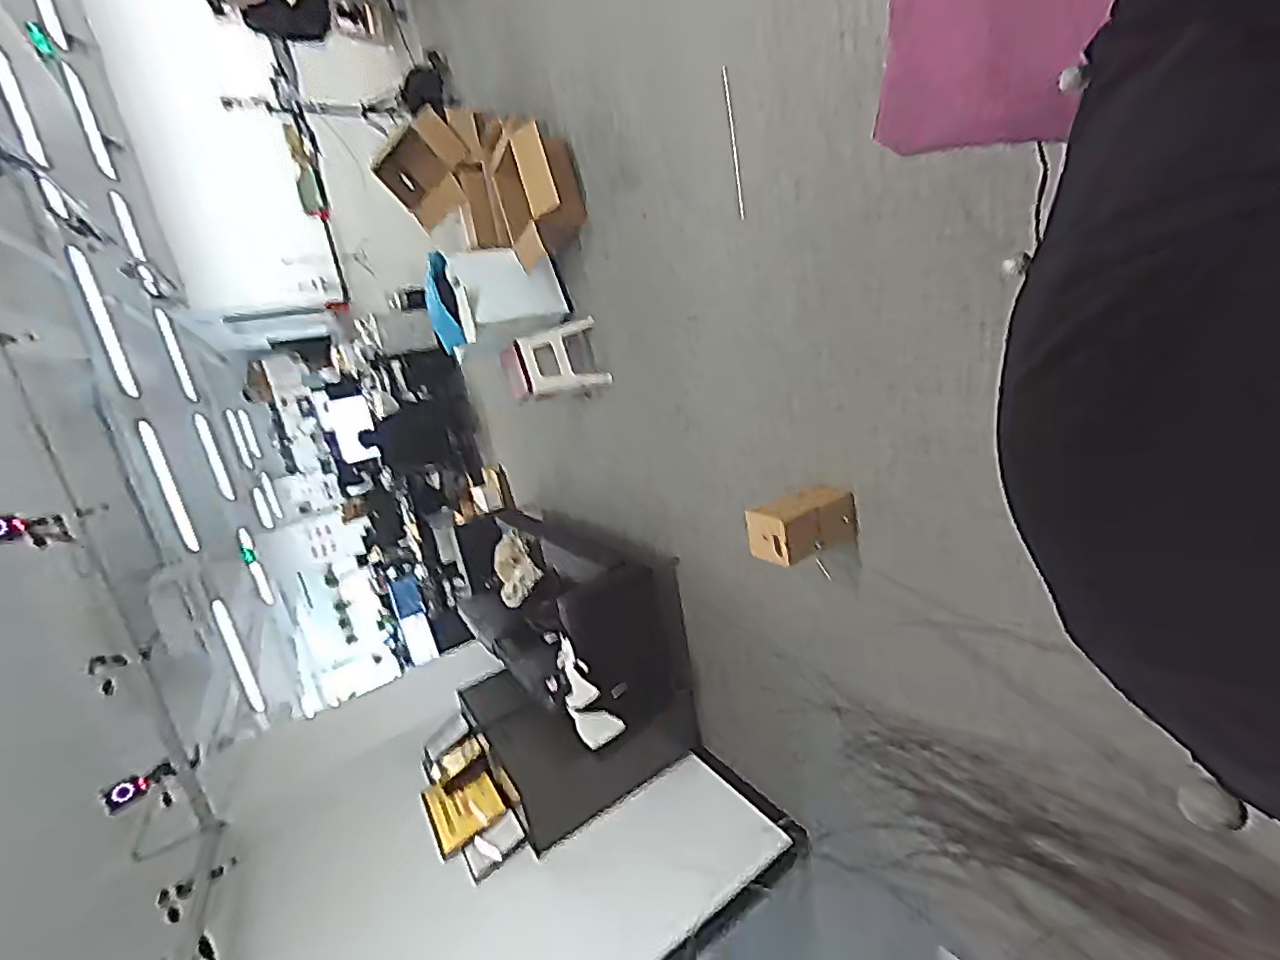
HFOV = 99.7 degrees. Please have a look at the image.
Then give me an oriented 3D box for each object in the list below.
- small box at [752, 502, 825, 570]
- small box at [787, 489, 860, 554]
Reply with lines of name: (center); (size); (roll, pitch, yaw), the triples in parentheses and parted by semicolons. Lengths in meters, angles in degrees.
small box: (0.507, 0.182, 1.827); (0.179, 0.176, 0.168); (12, 117, 58)
small box: (0.647, 0.138, 1.901); (0.179, 0.176, 0.168); (13, 118, 56)
